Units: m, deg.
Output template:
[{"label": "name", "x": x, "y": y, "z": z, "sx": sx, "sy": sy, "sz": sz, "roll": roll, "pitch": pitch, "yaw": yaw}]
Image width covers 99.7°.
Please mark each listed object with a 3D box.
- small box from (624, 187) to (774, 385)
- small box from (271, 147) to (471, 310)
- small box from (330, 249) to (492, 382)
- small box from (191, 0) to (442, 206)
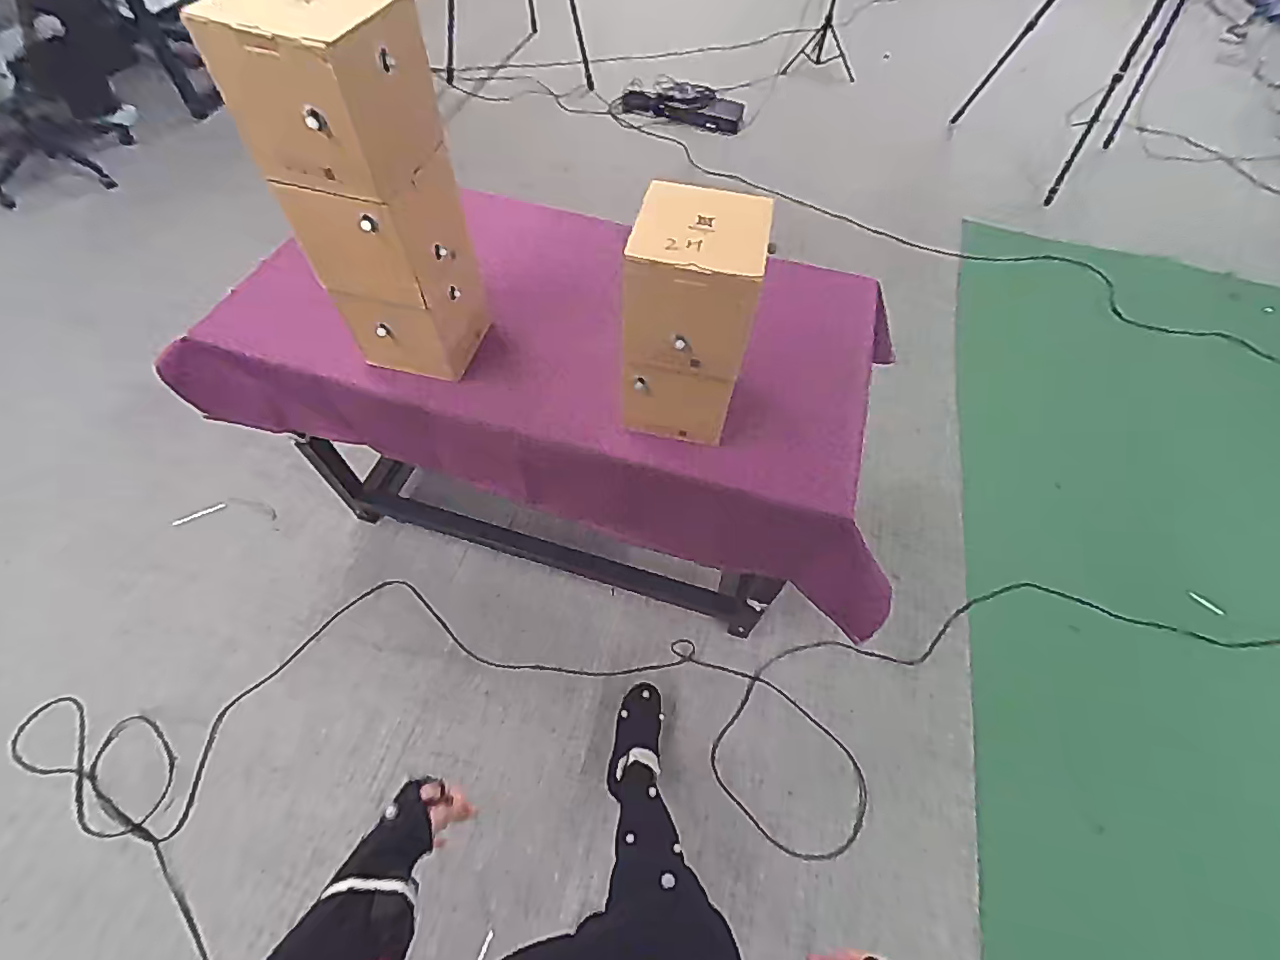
[{"label": "small box", "x": 0.074, "y": -0.260, "z": 0.733, "sx": 0.168, "sy": 0.176, "sz": 0.179, "roll": 12, "pitch": 57, "yaw": 6}, {"label": "small box", "x": -0.374, "y": -0.375, "z": 0.790, "sx": 0.179, "sy": 0.176, "sz": 0.168, "roll": 14, "pitch": 57, "yaw": 5}, {"label": "small box", "x": -0.378, "y": -0.291, "z": 0.929, "sx": 0.179, "sy": 0.176, "sz": 0.168, "roll": 13, "pitch": 58, "yaw": 6}, {"label": "small box", "x": -0.364, "y": -0.465, "z": 0.655, "sx": 0.168, "sy": 0.176, "sz": 0.179, "roll": 16, "pitch": 57, "yaw": 6}]
